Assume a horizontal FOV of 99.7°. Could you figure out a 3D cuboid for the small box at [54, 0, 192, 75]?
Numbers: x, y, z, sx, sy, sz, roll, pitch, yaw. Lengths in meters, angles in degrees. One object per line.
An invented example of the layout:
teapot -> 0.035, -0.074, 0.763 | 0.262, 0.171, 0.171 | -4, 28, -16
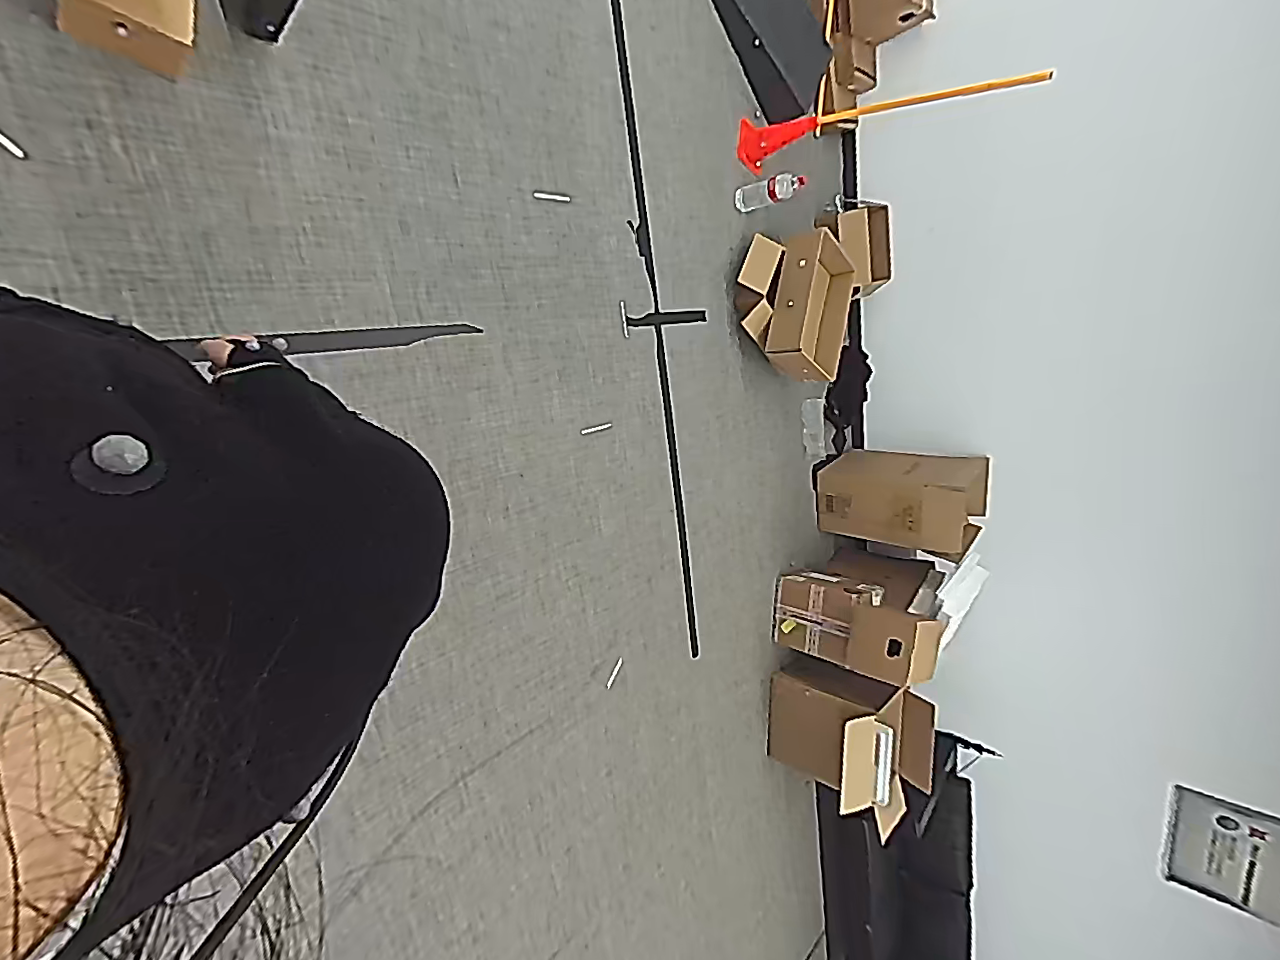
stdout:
small box -> -0.957, -0.901, 1.004 | 0.179, 0.176, 0.168 | 2, 94, -45
